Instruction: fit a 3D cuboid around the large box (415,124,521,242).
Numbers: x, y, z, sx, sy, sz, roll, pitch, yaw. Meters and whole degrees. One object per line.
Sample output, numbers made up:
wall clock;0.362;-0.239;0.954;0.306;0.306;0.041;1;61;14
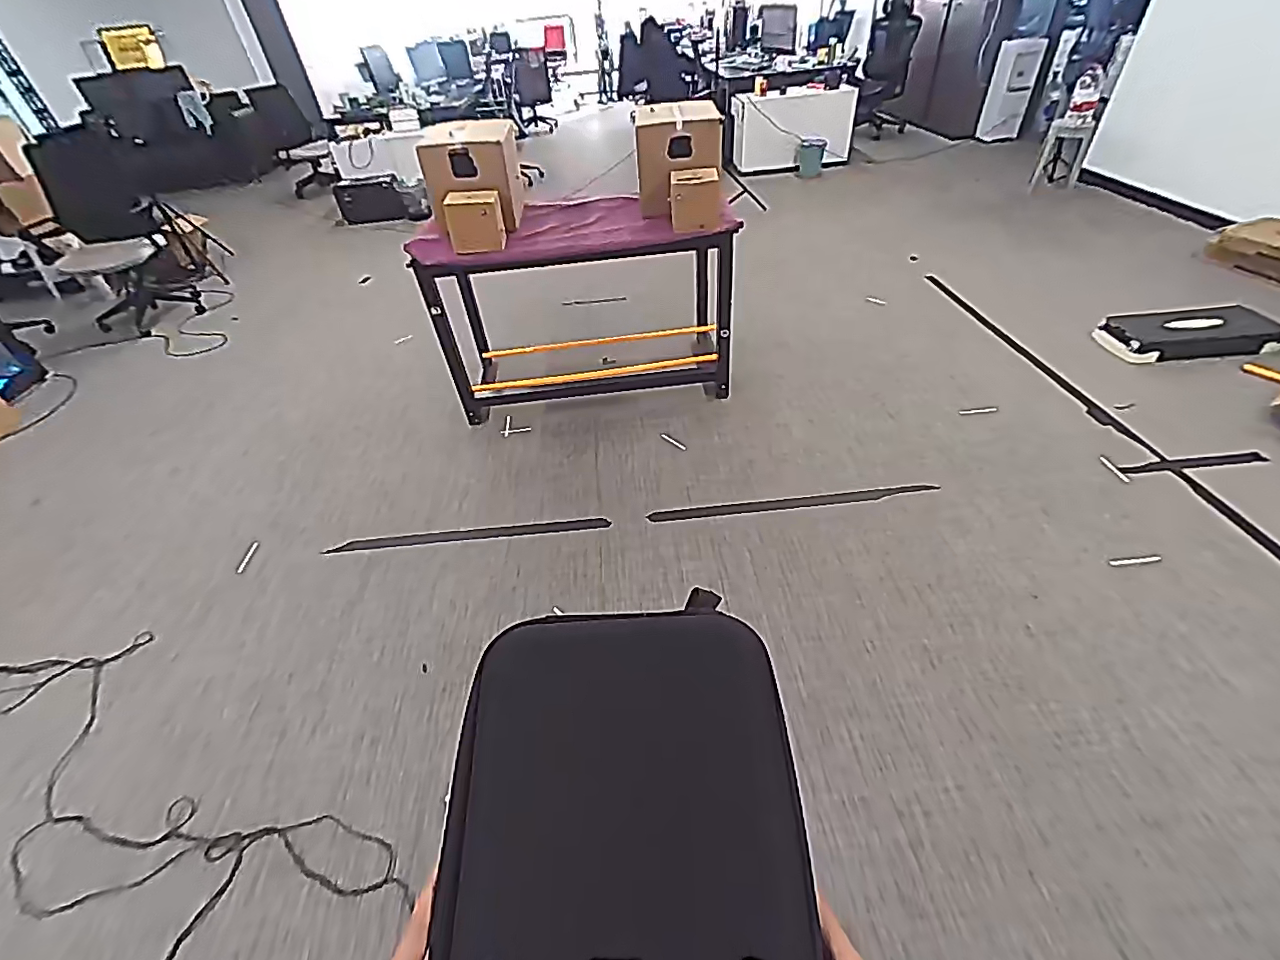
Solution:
large box;-0.663;-1.192;2.158;0.320;0.320;0.408;-6;44;-2
